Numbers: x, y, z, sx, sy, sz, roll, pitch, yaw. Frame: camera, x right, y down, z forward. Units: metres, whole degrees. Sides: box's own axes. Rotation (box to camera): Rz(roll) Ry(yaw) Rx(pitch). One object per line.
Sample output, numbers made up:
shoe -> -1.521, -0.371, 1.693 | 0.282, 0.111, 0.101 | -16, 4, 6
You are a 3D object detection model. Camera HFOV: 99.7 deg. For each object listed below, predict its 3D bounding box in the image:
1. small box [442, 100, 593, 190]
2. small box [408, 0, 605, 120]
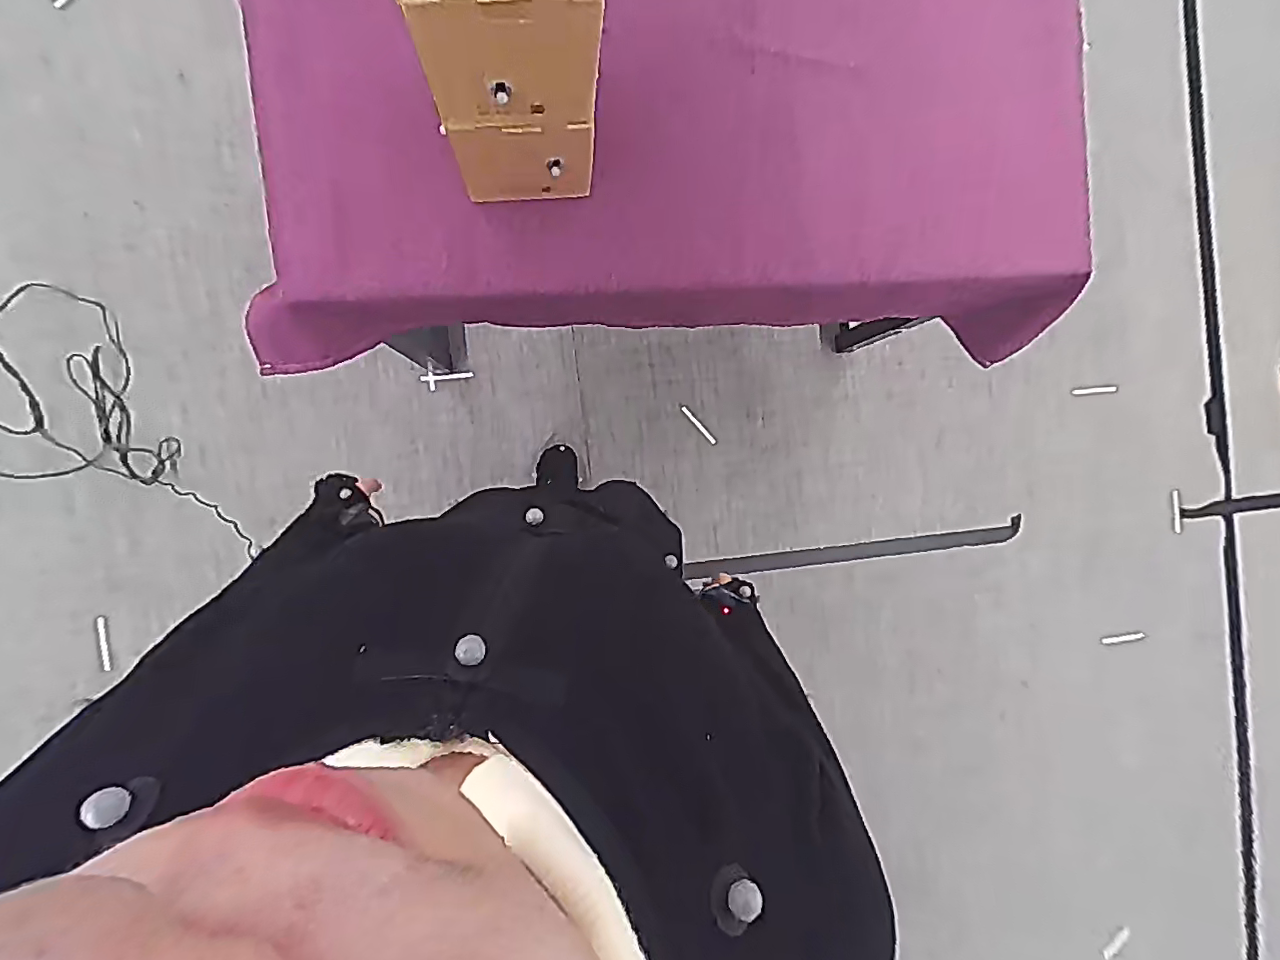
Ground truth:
small box -> -0.148, -0.479, 0.667 | 0.168, 0.176, 0.179 | -6, 93, -8
small box -> -0.131, -0.477, 0.505 | 0.168, 0.176, 0.179 | -9, 95, -8
